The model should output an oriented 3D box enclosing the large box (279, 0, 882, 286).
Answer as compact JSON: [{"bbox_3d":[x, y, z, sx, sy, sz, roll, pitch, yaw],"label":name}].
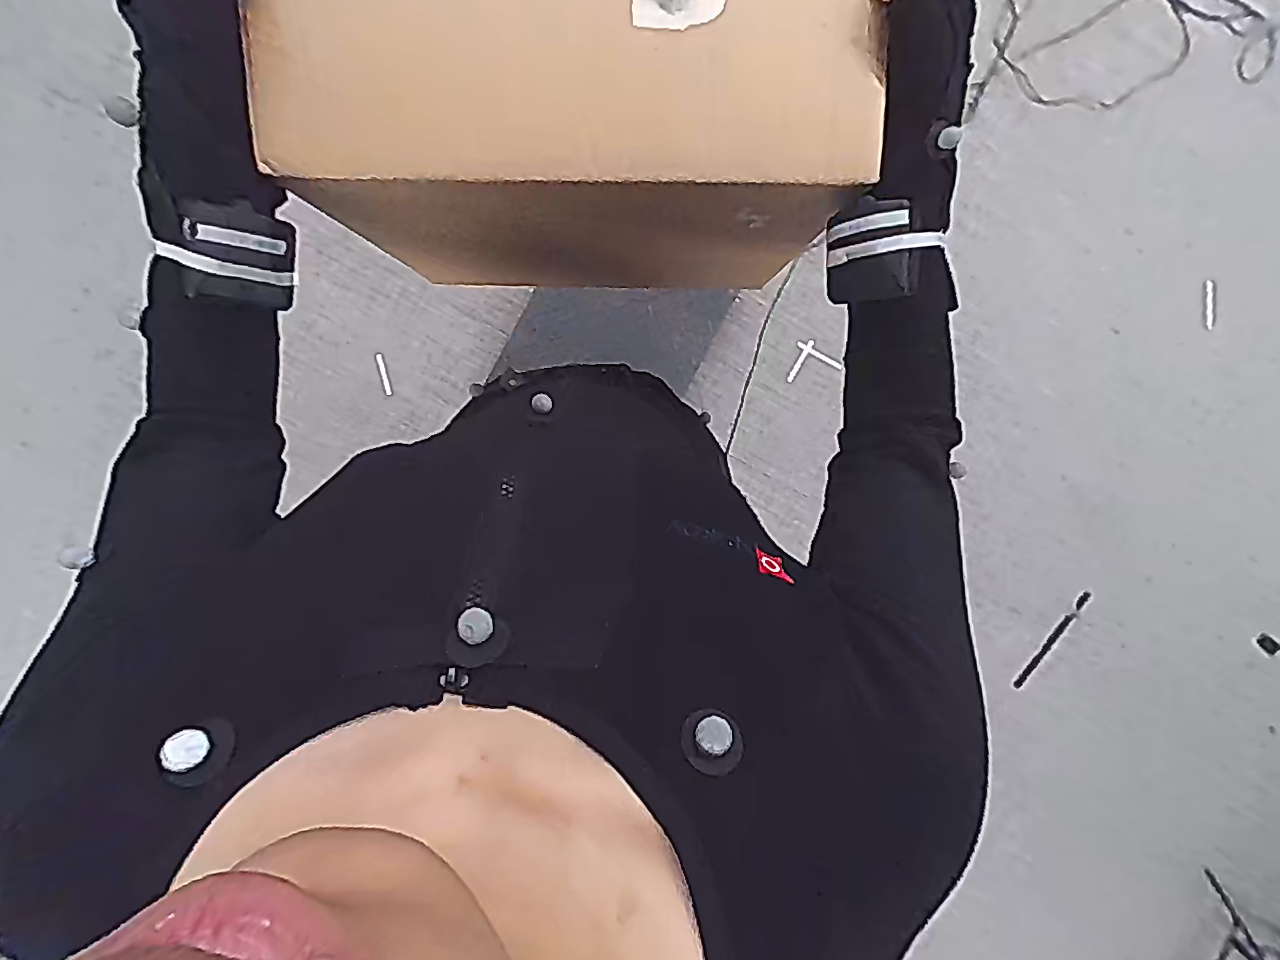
[{"bbox_3d":[-0.041,-0.374,0.499,0.408,0.320,0.320,0,97,-2],"label":"large box"}]
